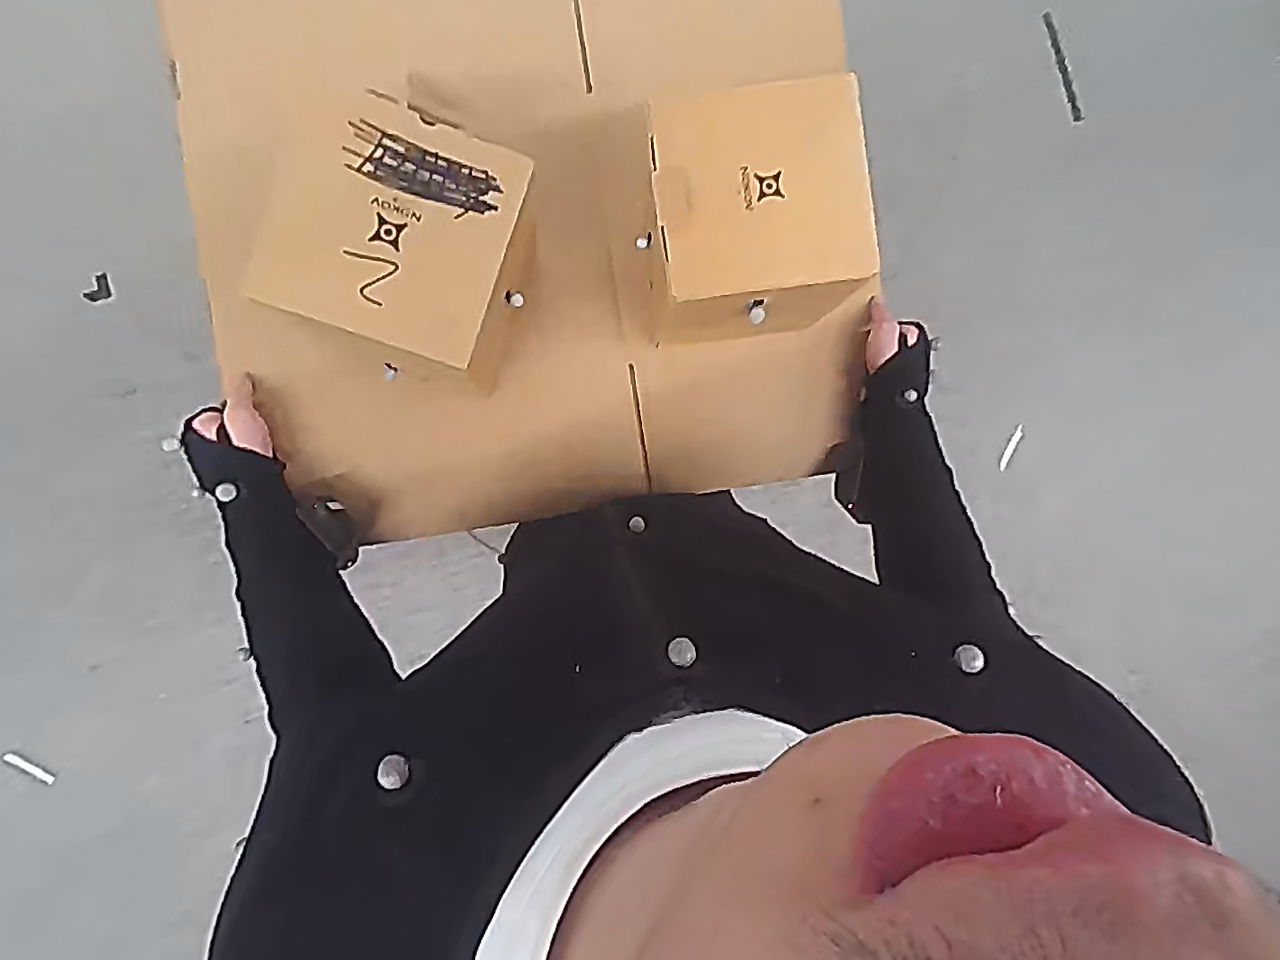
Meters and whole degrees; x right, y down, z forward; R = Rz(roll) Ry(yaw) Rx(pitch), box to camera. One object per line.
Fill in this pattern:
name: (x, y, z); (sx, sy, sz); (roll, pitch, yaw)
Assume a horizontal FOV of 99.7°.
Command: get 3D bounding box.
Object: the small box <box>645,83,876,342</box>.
small box: (0.103, -0.244, 0.533); (0.179, 0.176, 0.168); (-8, 91, -1)
